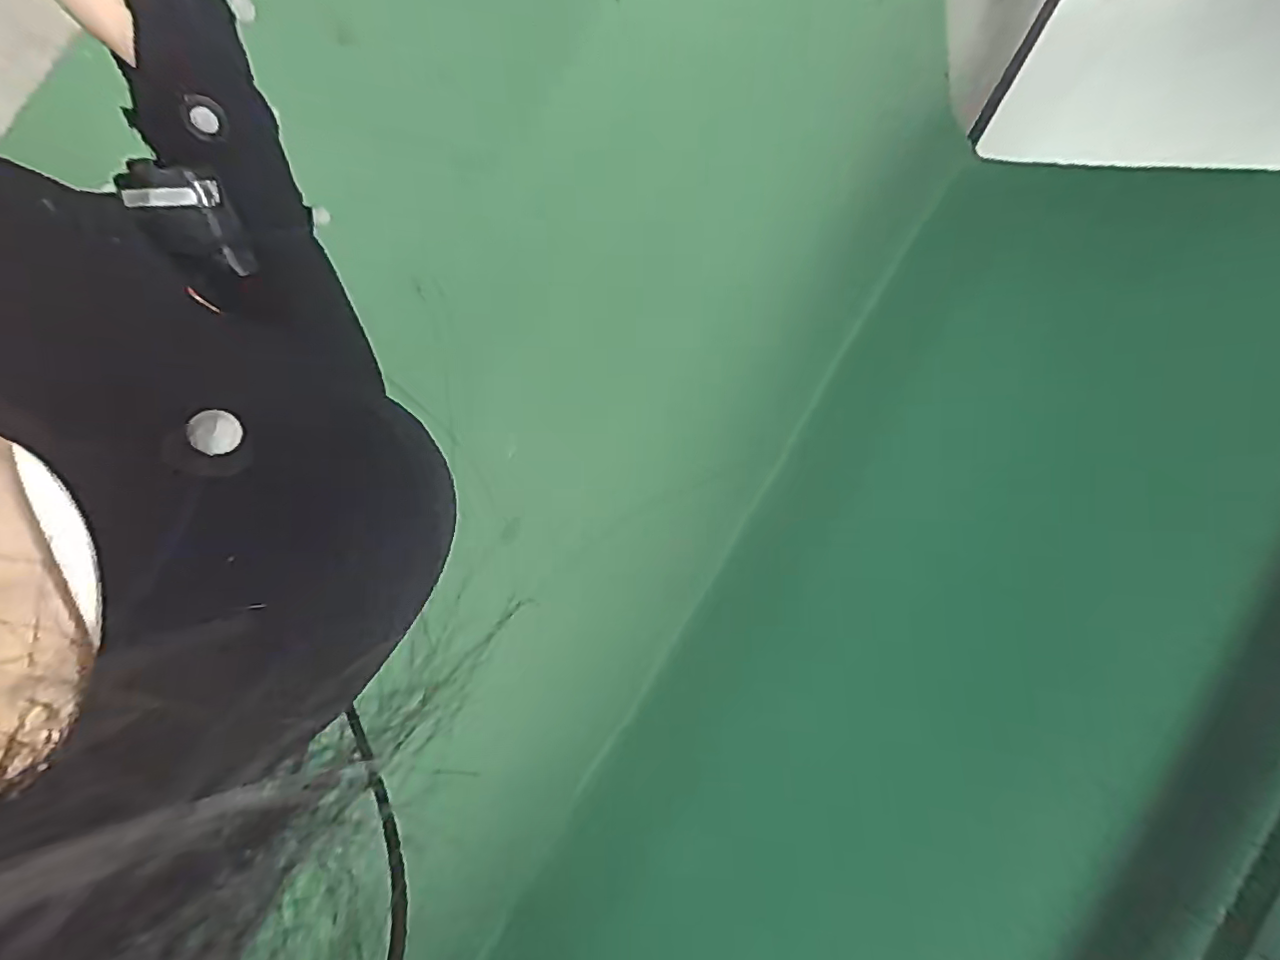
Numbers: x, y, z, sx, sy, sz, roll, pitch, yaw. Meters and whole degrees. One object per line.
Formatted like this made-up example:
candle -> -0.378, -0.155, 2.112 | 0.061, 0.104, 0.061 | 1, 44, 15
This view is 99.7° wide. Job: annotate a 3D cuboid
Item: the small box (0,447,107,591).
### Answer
small box -> -1.171, 0.066, 1.013 | 0.179, 0.176, 0.168 | -46, 140, -17
